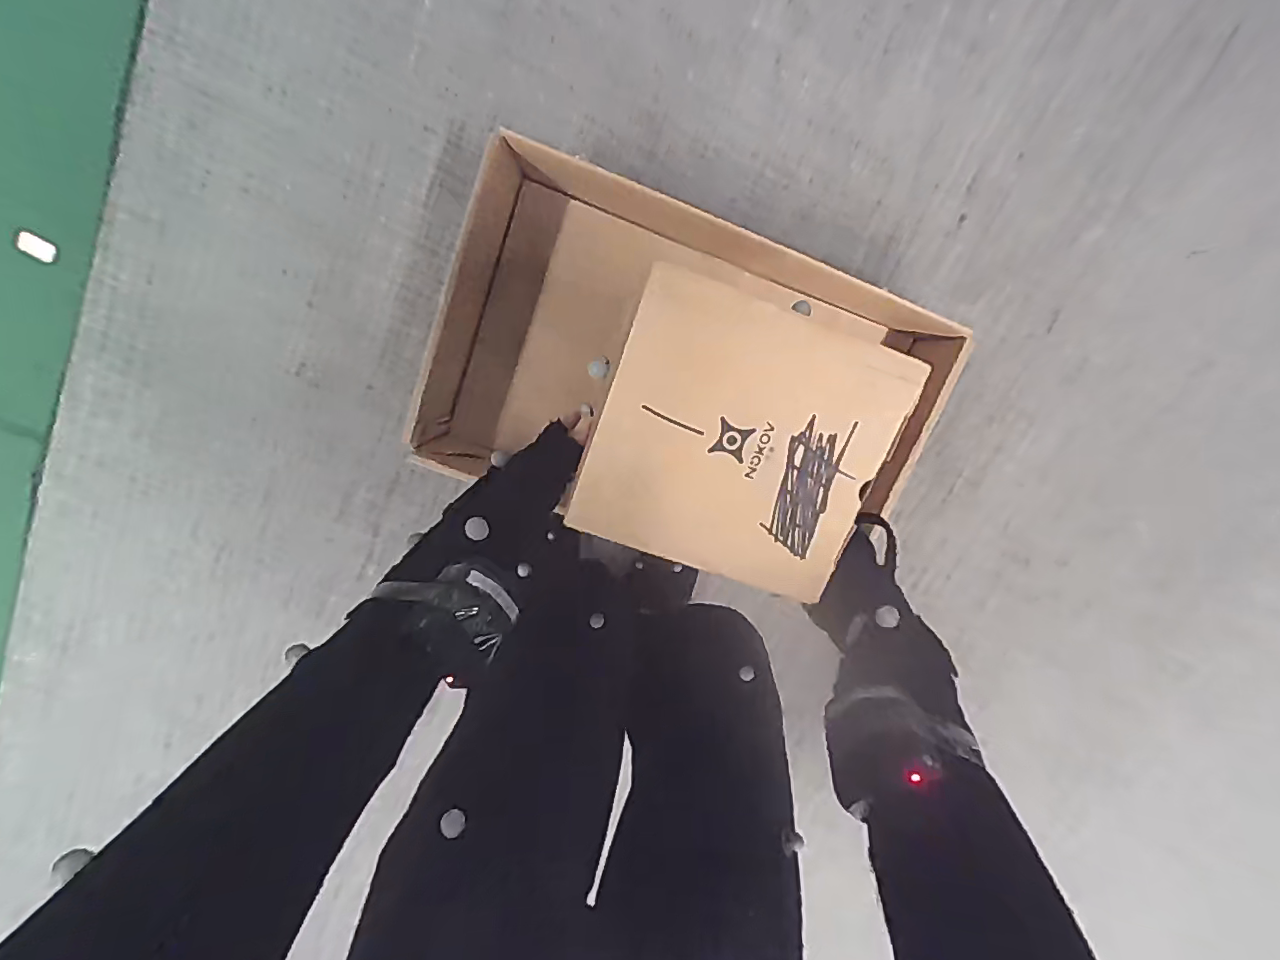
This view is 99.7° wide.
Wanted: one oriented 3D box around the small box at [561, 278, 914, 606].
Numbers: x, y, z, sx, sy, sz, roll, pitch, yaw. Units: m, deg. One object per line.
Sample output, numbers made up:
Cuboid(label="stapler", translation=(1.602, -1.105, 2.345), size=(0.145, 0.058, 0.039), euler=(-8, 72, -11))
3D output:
Cuboid(label="small box", translation=(0.055, -0.036, 0.409), size=(0.179, 0.176, 0.168), euler=(19, 103, -6))
